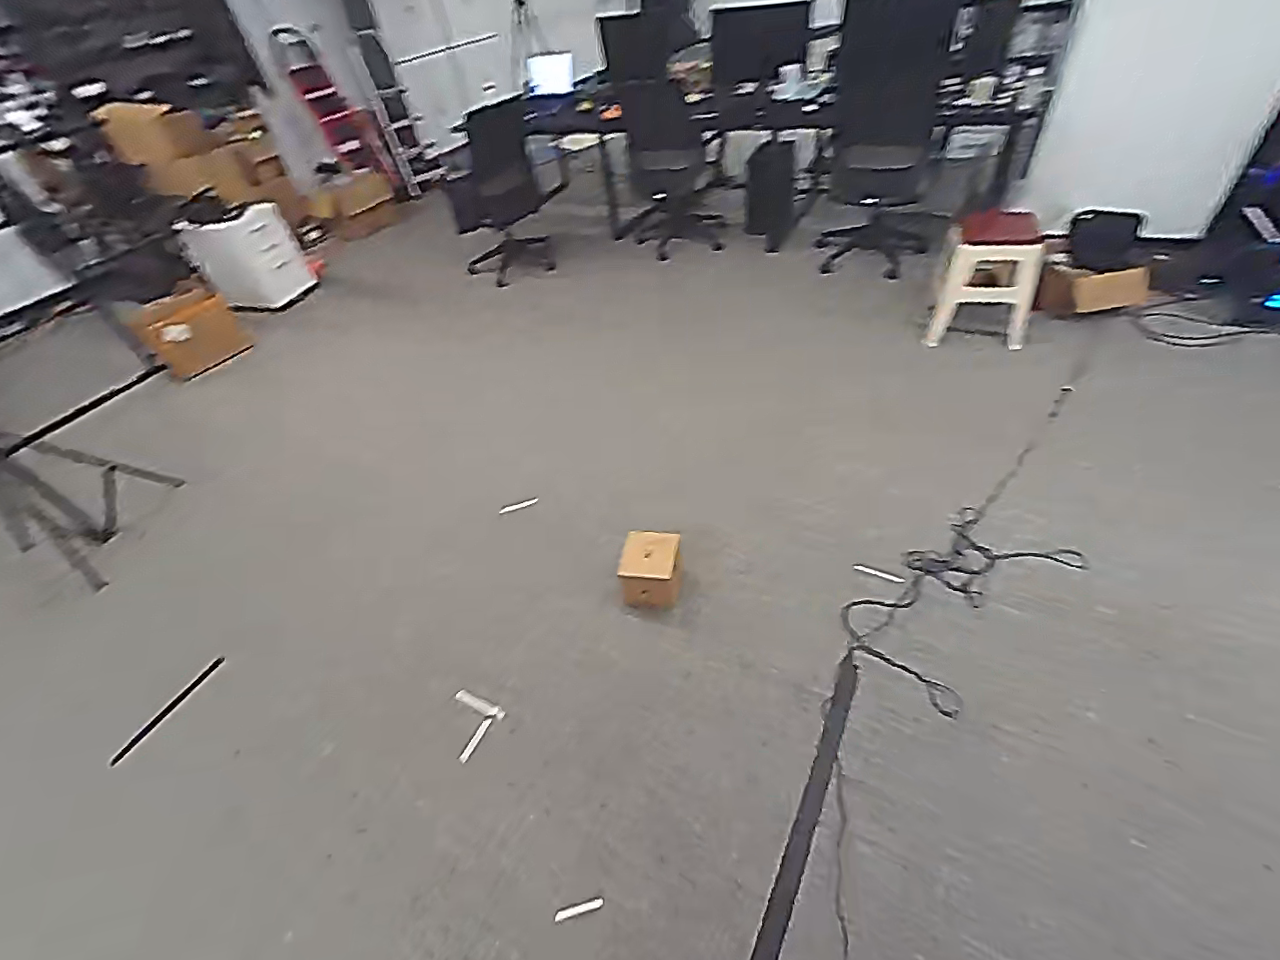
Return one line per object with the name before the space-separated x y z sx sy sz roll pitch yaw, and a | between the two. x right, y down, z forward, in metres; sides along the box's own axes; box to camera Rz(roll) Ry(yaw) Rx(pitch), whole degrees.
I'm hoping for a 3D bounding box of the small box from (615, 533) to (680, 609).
small box | 0.032 0.294 1.736 0.168 0.176 0.179 3 45 14
